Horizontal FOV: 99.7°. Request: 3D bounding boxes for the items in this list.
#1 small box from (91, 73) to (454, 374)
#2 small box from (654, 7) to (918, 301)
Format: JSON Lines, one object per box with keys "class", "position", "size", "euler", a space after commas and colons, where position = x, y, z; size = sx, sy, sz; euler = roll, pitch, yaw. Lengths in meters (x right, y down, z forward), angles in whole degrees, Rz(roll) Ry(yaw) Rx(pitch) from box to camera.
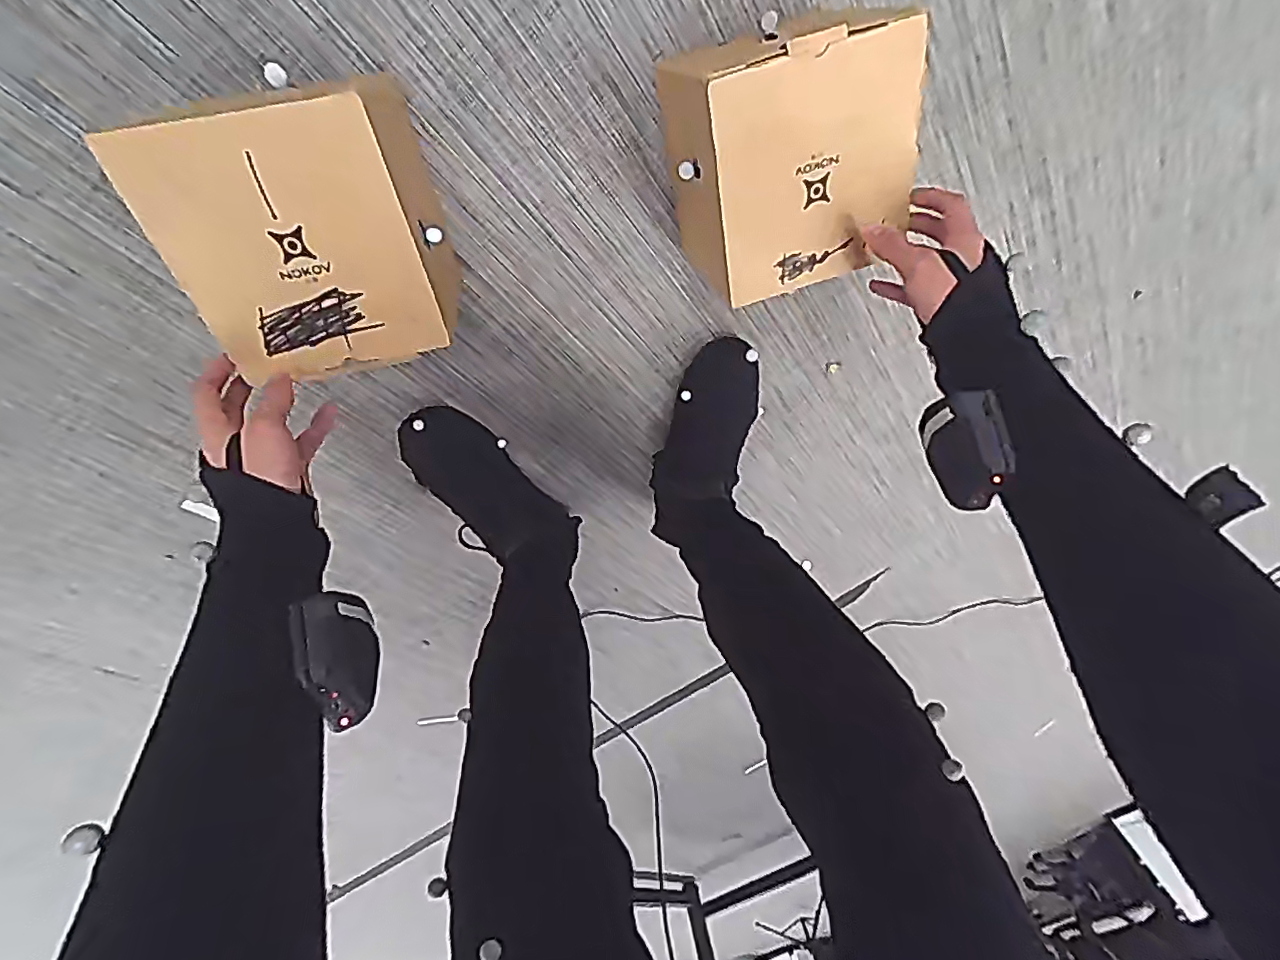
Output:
{"class": "small box", "position": [-0.264, -0.217, 0.451], "size": [0.168, 0.176, 0.179], "euler": [-13, 131, -5]}
{"class": "small box", "position": [0.119, -0.295, 0.494], "size": [0.168, 0.176, 0.179], "euler": [-17, 131, -1]}
